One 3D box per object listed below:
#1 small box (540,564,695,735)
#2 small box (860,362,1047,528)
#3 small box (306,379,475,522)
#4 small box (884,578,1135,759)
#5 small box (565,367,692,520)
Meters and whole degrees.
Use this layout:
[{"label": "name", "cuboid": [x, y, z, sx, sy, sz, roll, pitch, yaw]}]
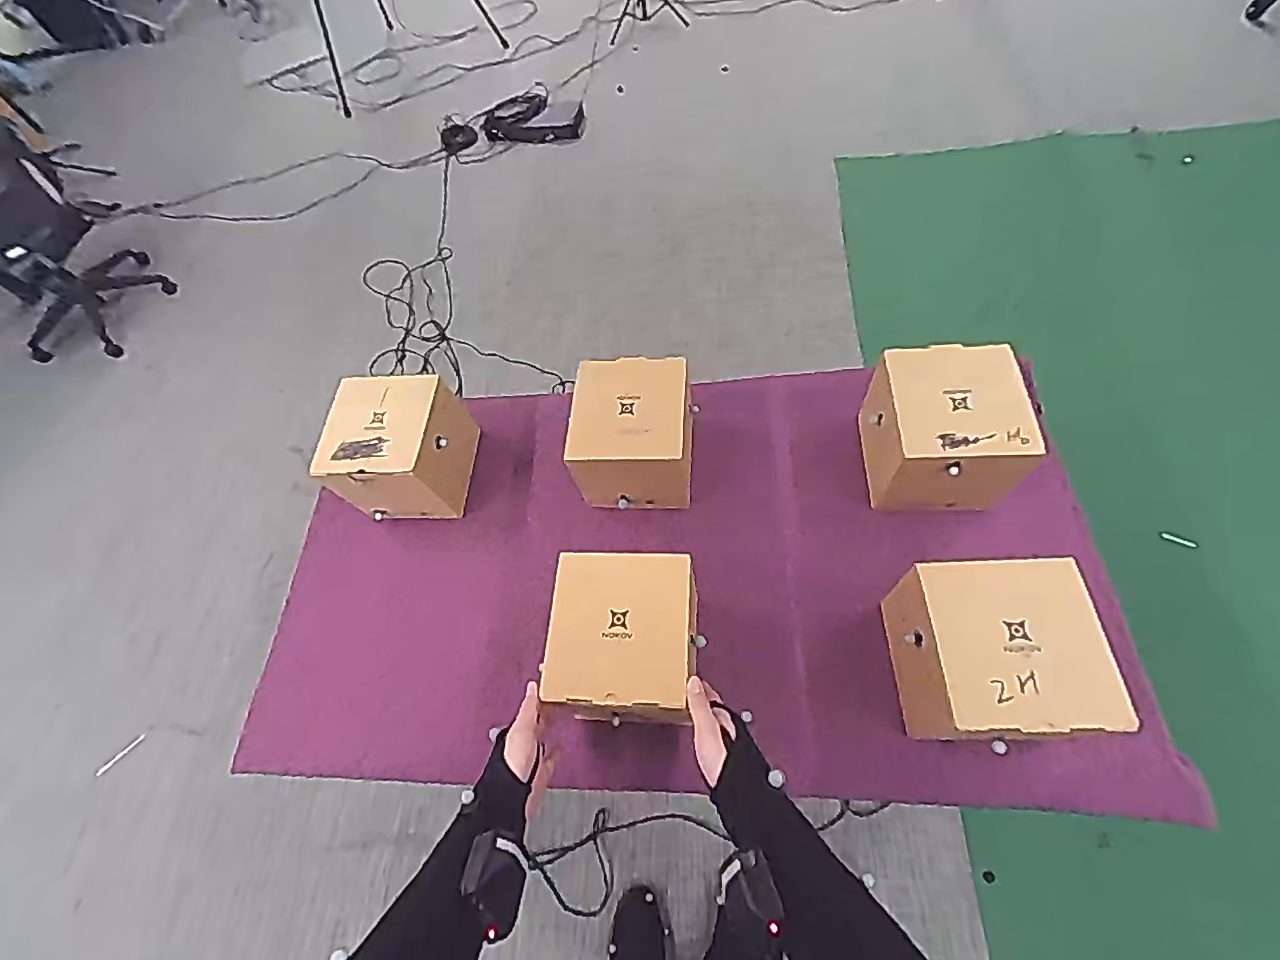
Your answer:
[{"label": "small box", "cuboid": [-0.015, 0.220, 0.689, 0.168, 0.176, 0.179, 1, 63, 7]}, {"label": "small box", "cuboid": [0.425, -0.046, 0.771, 0.168, 0.176, 0.179, 0, 63, 8]}, {"label": "small box", "cuboid": [-0.383, -0.041, 0.865, 0.168, 0.176, 0.179, 0, 63, 7]}, {"label": "small box", "cuboid": [0.401, 0.224, 0.630, 0.168, 0.176, 0.179, -2, 63, 8]}, {"label": "small box", "cuboid": [-0.007, -0.053, 0.830, 0.168, 0.176, 0.179, 1, 64, 8]}]
